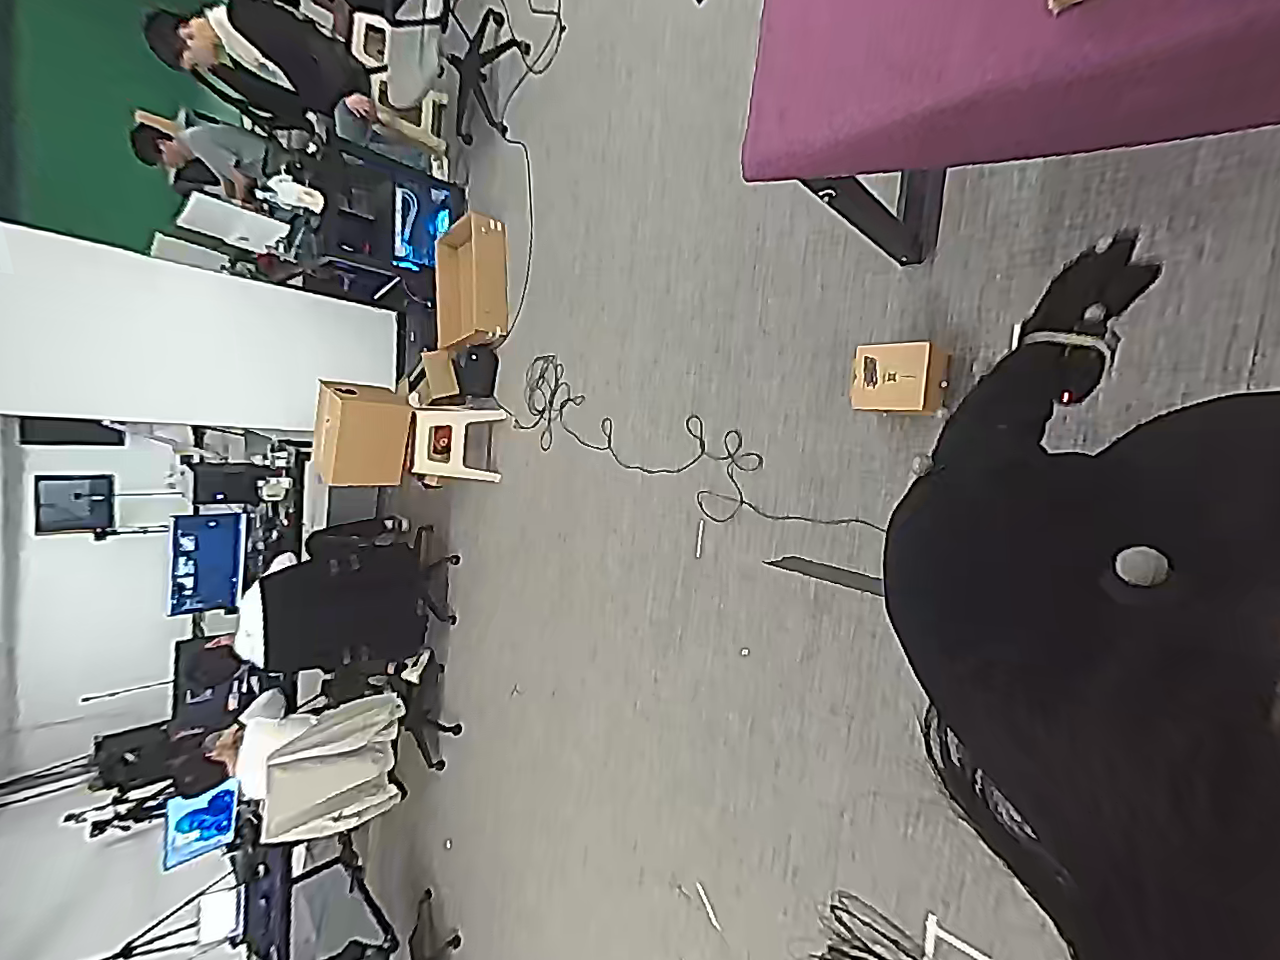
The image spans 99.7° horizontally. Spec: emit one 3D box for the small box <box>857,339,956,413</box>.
[{"bbox_3d":[0.681,-0.259,1.382,0.179,0.176,0.168,8,96,43],"label":"small box"}]
